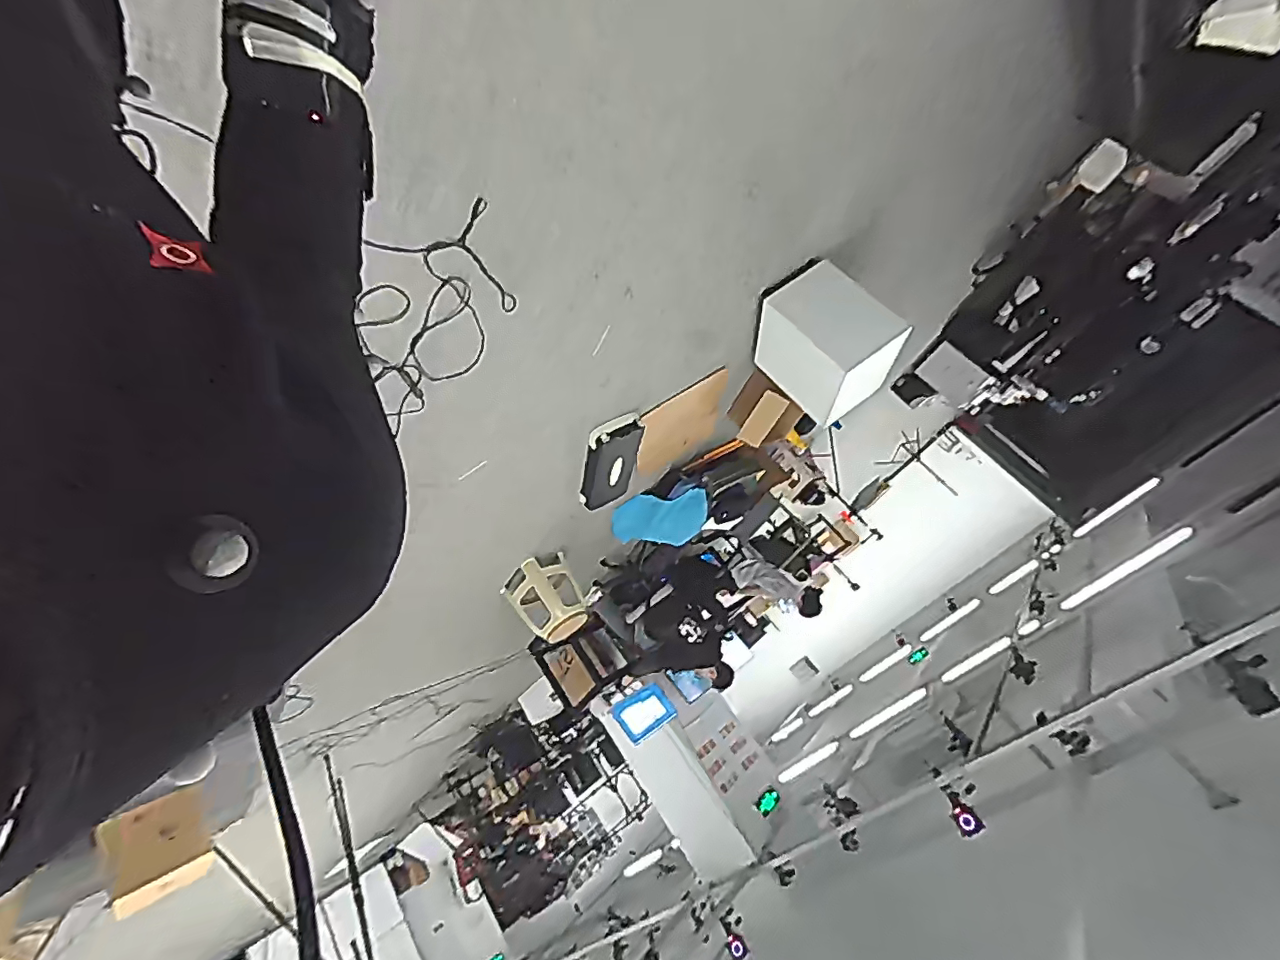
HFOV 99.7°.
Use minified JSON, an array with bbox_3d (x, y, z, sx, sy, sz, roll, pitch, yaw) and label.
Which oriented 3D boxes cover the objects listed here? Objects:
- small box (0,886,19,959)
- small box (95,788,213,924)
[{"bbox_3d":[-1.272,0.863,0.977,0.168,0.176,0.179,-18,150,-44],"label":"small box"},{"bbox_3d":[-1.083,0.827,1.206,0.168,0.176,0.179,-12,147,-49],"label":"small box"}]
